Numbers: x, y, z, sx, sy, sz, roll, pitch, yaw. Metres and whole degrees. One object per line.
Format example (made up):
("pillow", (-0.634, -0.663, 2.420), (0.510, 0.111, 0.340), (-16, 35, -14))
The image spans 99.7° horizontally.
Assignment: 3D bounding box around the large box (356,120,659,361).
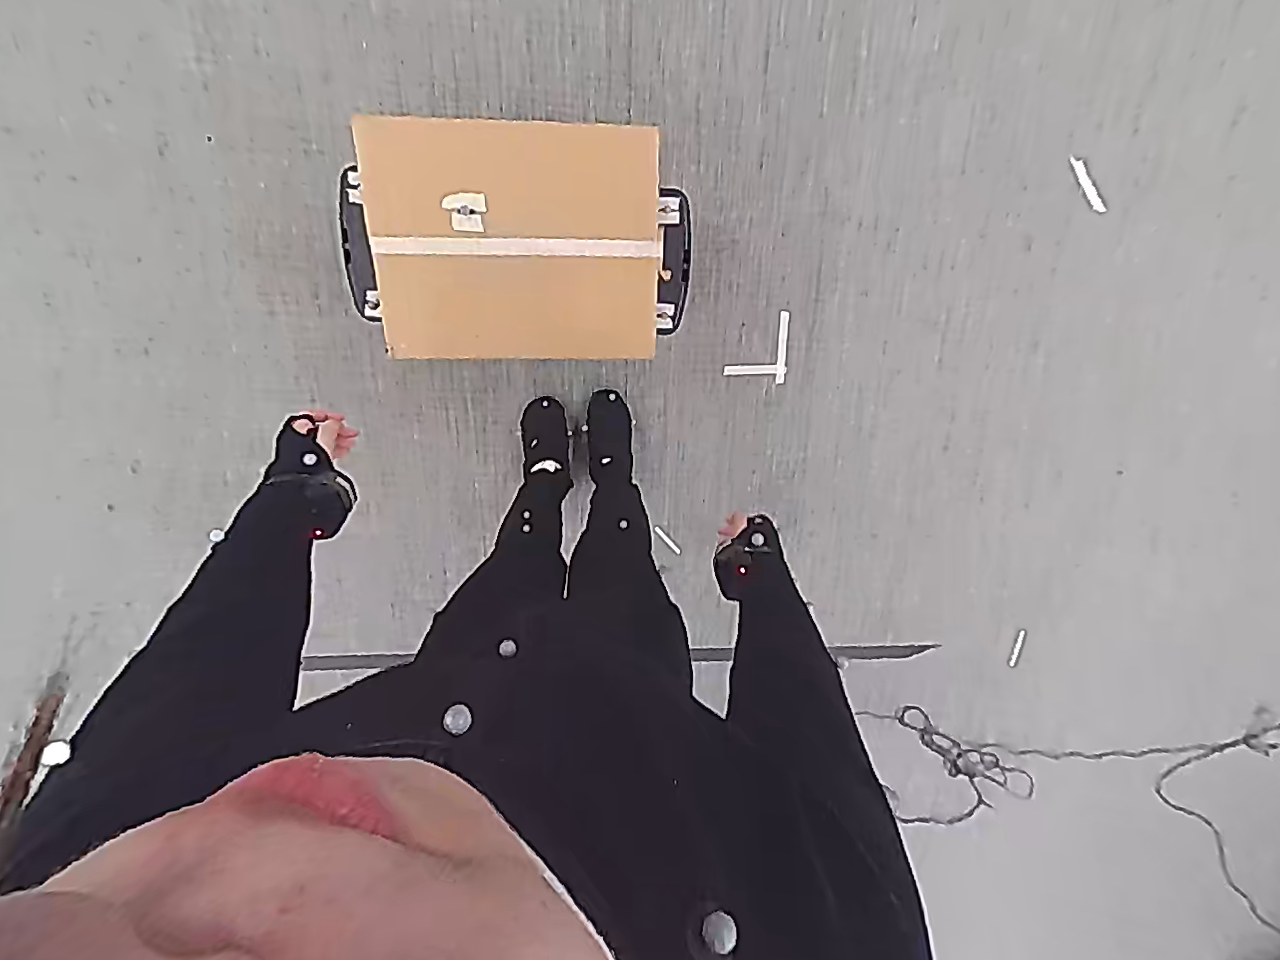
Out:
("large box", (-0.180, -0.379, 0.900), (0.408, 0.320, 0.320), (-1, 110, -4))
